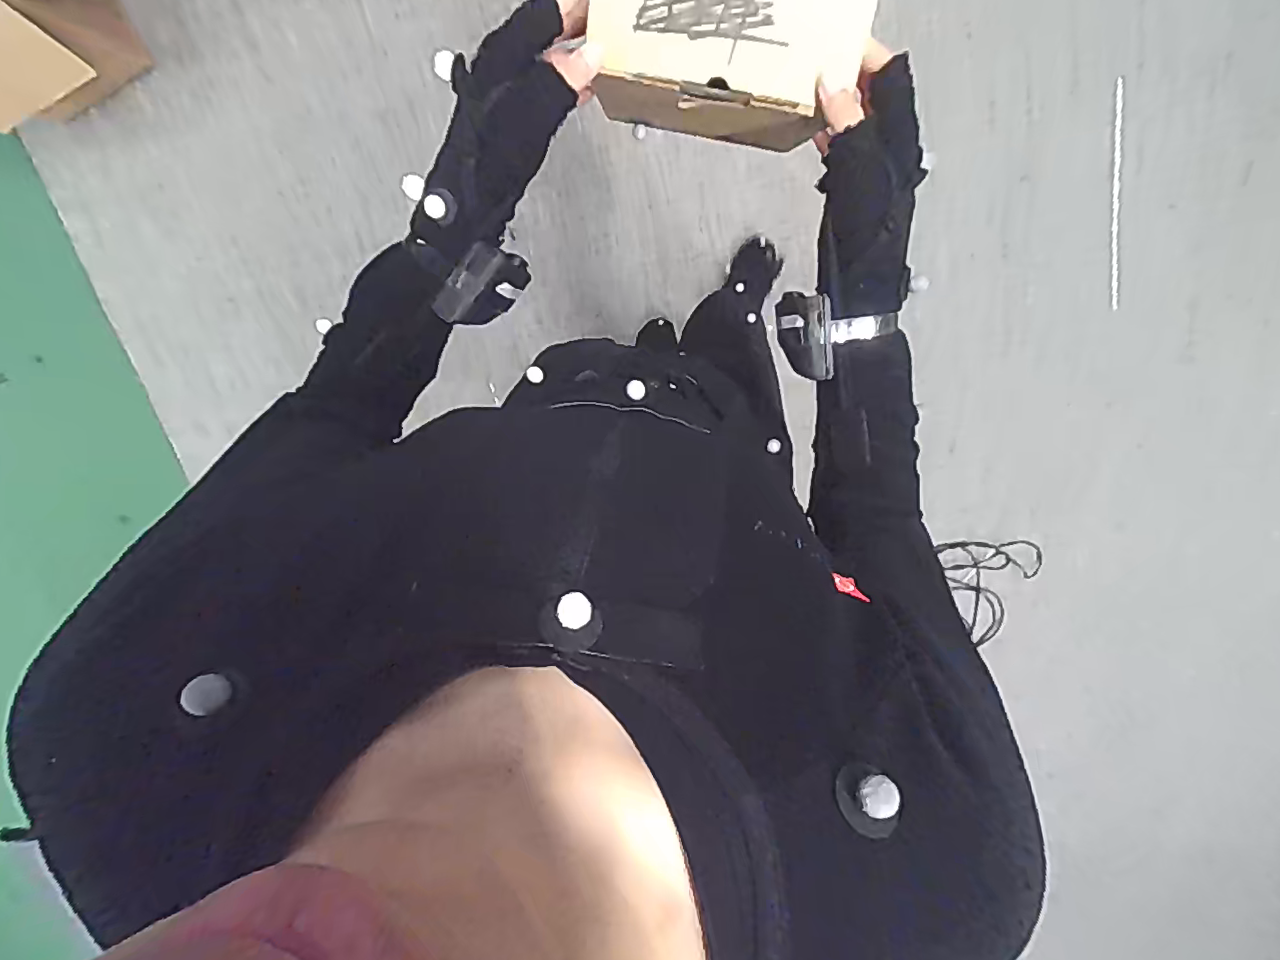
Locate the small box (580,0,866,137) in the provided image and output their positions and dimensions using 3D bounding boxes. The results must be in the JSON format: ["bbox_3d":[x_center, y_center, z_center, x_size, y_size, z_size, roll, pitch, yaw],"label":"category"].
[{"bbox_3d":[0.060,-0.355,0.367,0.168,0.176,0.179,9,114,-2],"label":"small box"}]
